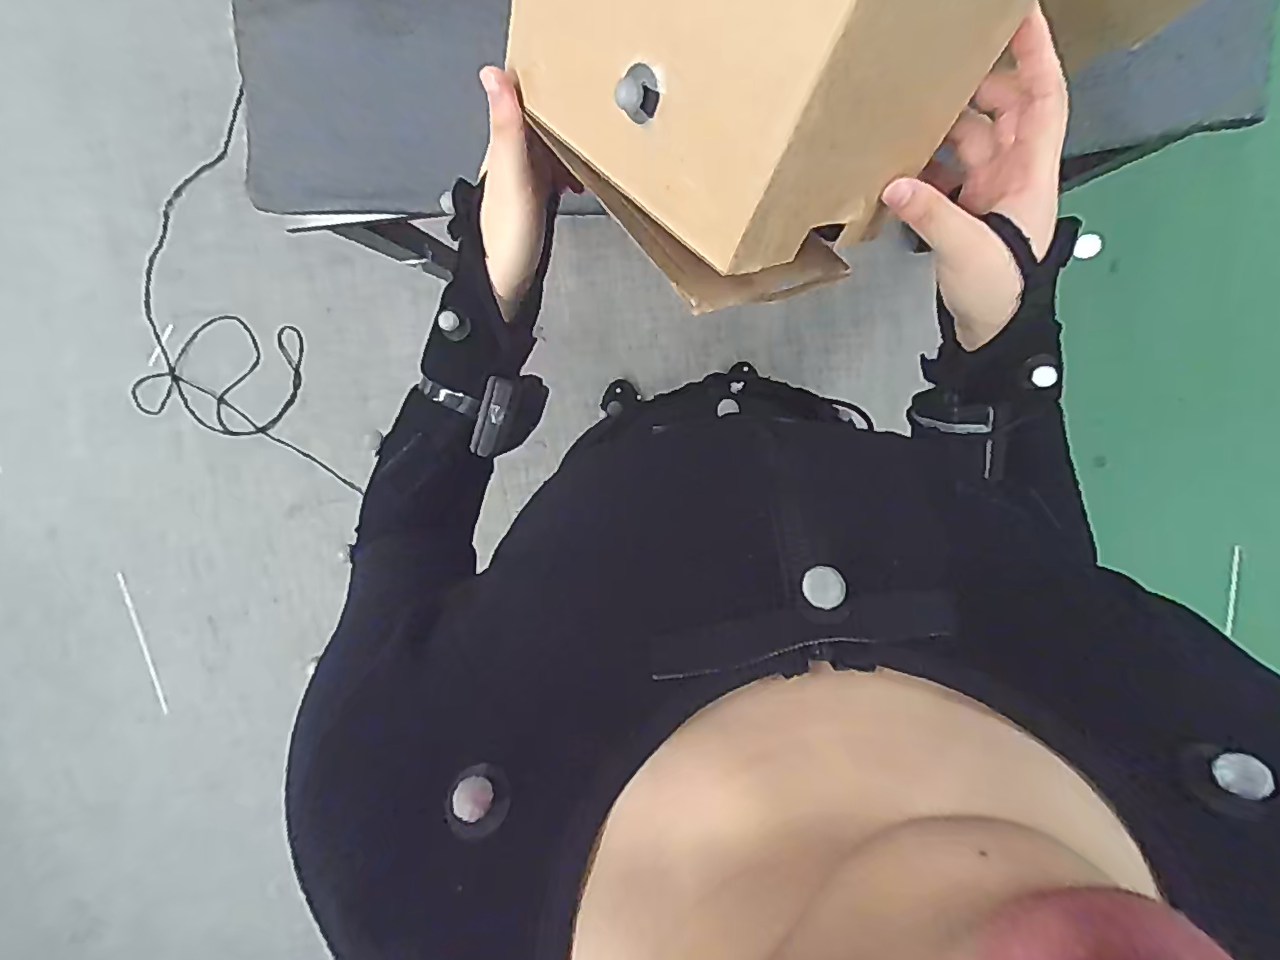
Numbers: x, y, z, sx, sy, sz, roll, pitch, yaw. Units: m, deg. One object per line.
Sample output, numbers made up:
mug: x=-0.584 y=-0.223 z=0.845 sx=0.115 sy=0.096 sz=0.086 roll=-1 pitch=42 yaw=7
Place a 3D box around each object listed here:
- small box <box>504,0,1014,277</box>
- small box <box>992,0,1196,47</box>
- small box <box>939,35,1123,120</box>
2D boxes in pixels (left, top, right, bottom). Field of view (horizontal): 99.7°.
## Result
small box: x=0.058 y=-0.231 z=0.258 sx=0.179 sy=0.168 sz=0.176 roll=48 pitch=140 yaw=17
small box: x=0.368 y=-0.461 z=0.396 sx=0.179 sy=0.176 sz=0.168 roll=8 pitch=100 yaw=2
small box: x=0.374 y=-0.504 z=0.553 sx=0.168 sy=0.176 sz=0.179 roll=-3 pitch=100 yaw=4
